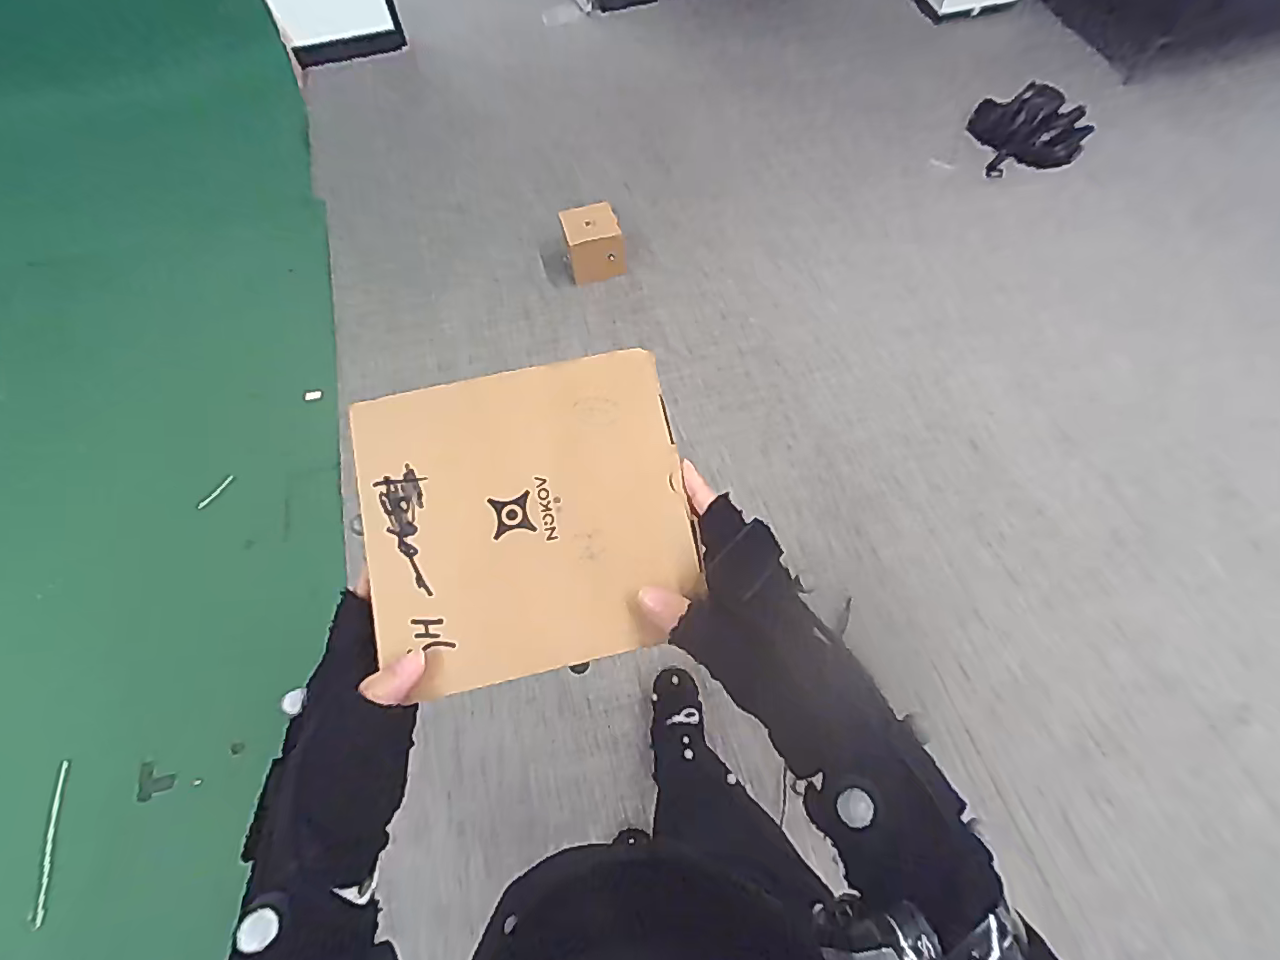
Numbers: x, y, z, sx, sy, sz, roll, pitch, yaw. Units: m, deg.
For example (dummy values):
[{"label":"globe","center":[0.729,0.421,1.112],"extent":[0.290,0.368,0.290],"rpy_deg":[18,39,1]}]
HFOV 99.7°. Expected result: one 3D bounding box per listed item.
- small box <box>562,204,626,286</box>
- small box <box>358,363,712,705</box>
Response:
[{"label":"small box","center":[-0.148,-0.783,1.809],"extent":[0.179,0.176,0.168],"rpy_deg":[-17,64,-5]},{"label":"small box","center":[-0.065,0.039,0.378],"extent":[0.179,0.176,0.168],"rpy_deg":[-11,78,-6]}]
